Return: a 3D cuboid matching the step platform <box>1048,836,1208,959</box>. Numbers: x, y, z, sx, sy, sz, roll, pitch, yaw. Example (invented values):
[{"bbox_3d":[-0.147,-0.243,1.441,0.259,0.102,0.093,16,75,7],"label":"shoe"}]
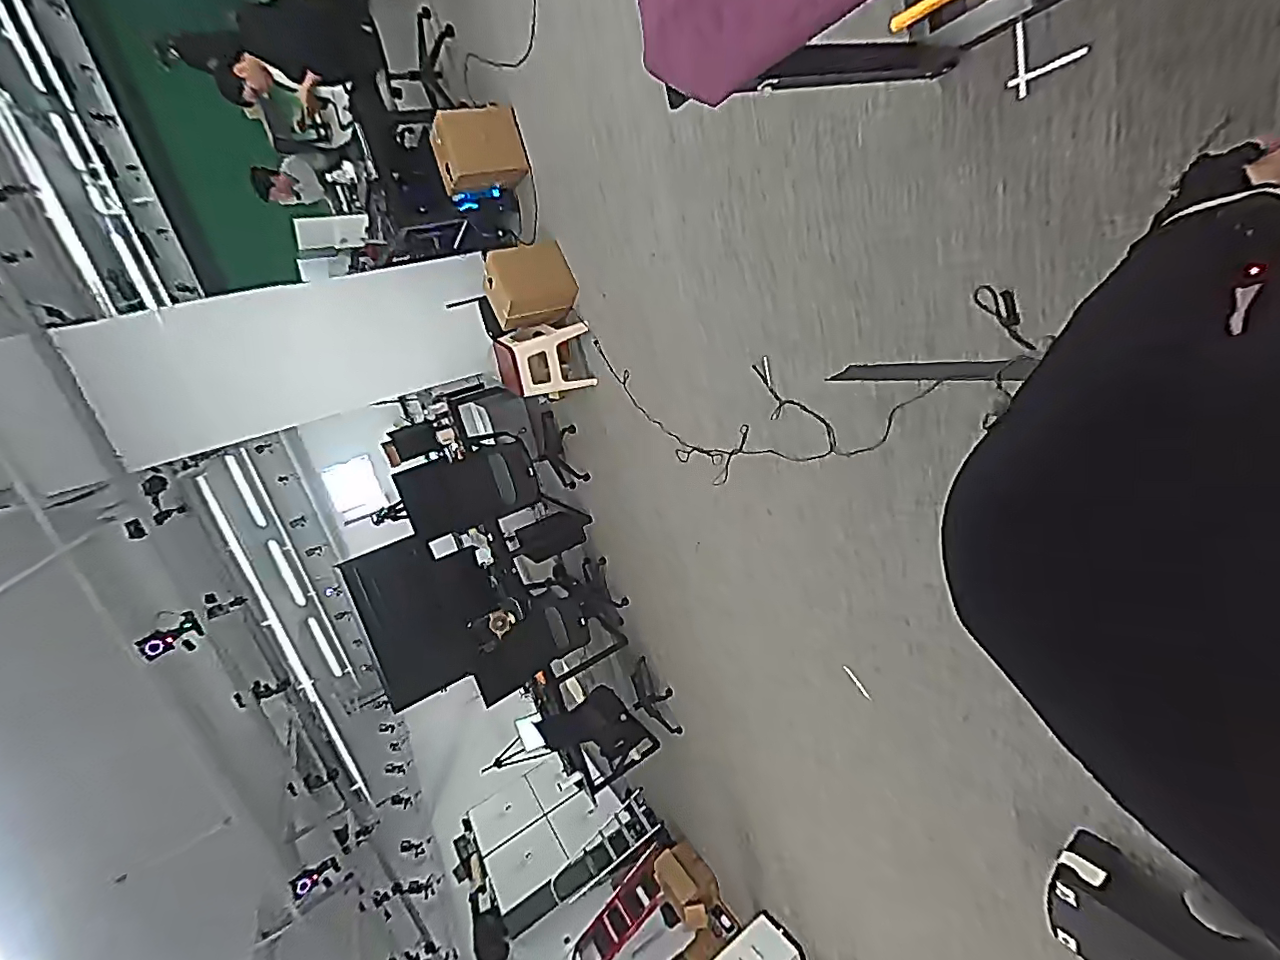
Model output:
[{"bbox_3d":[1.434,1.262,1.342,0.684,0.204,0.286,15,125,58],"label":"step platform"}]
